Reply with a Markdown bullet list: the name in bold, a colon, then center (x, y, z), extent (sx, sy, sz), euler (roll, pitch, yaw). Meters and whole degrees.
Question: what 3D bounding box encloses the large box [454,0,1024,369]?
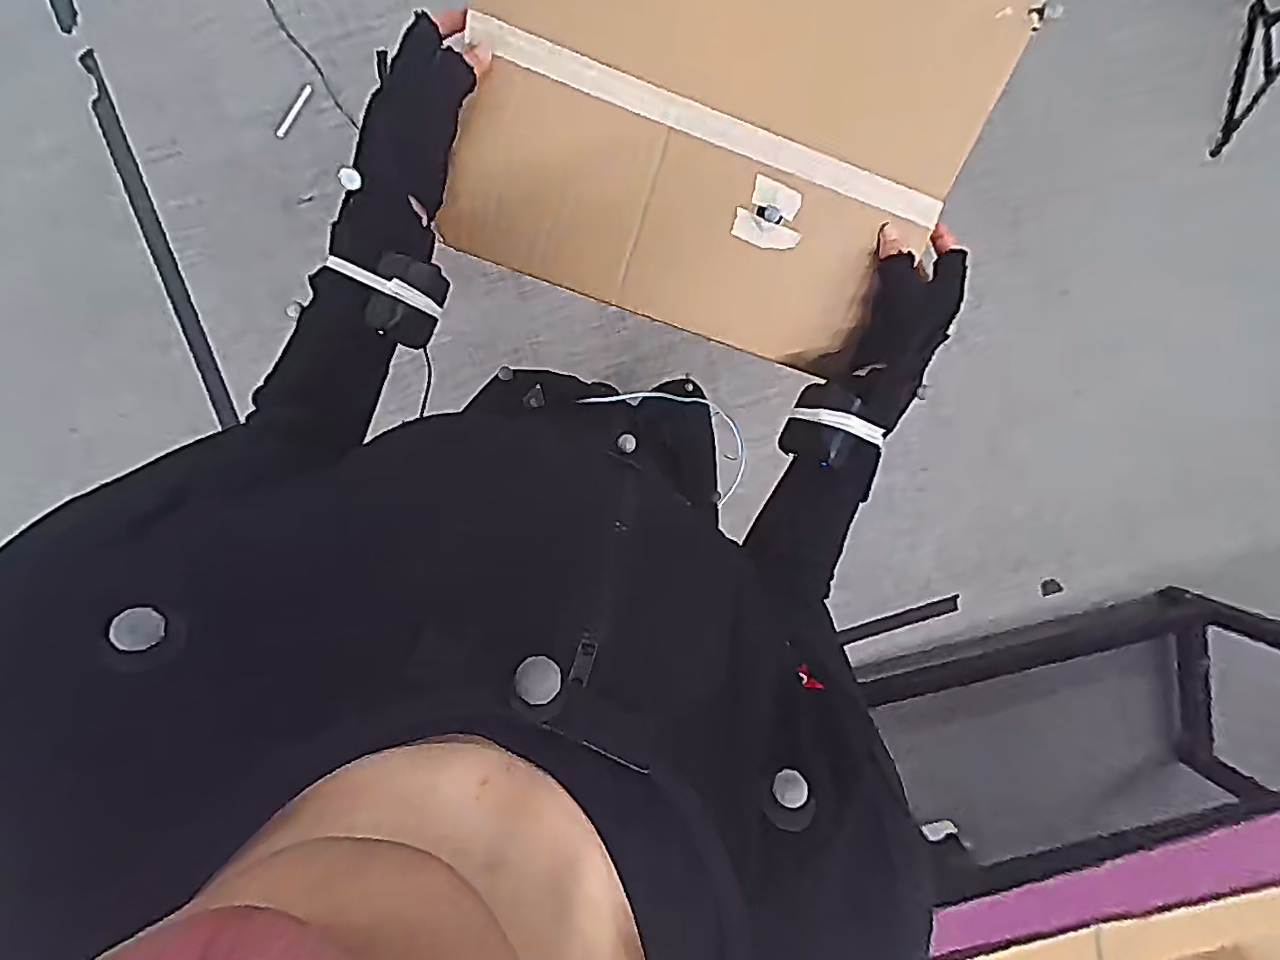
- **large box**: center (0.062, -0.356, 0.585), extent (0.408, 0.320, 0.320), euler (17, 115, -9)
